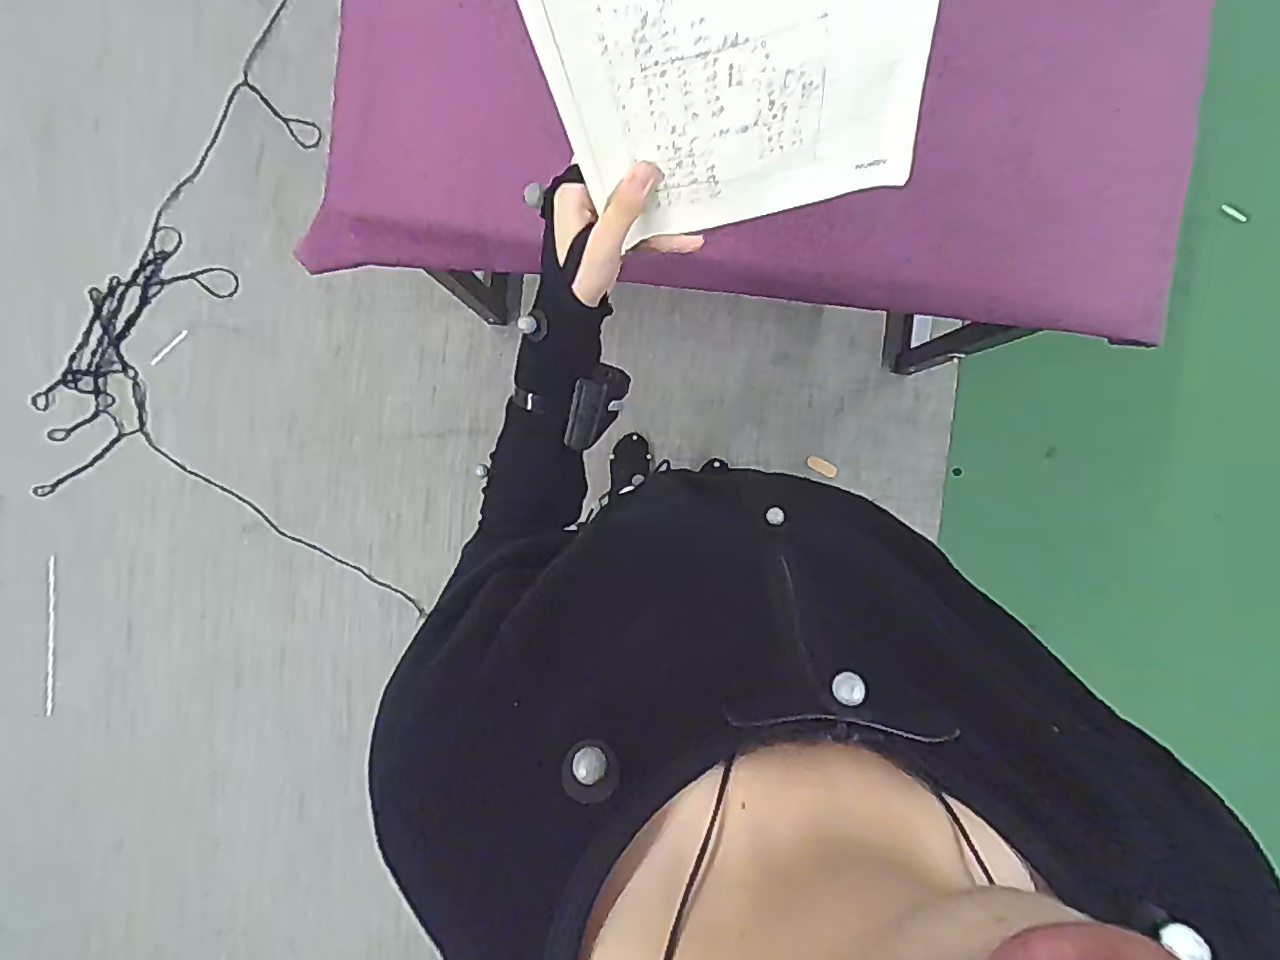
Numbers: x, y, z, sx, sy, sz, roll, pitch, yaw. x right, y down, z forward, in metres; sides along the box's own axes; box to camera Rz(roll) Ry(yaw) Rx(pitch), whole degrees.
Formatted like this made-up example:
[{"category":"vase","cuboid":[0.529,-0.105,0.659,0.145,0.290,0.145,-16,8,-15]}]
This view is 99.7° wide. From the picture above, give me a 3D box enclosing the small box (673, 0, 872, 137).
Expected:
[{"category":"small box","cuboid":[0.124,-0.471,0.525,0.168,0.176,0.179,7,91,1]}]
